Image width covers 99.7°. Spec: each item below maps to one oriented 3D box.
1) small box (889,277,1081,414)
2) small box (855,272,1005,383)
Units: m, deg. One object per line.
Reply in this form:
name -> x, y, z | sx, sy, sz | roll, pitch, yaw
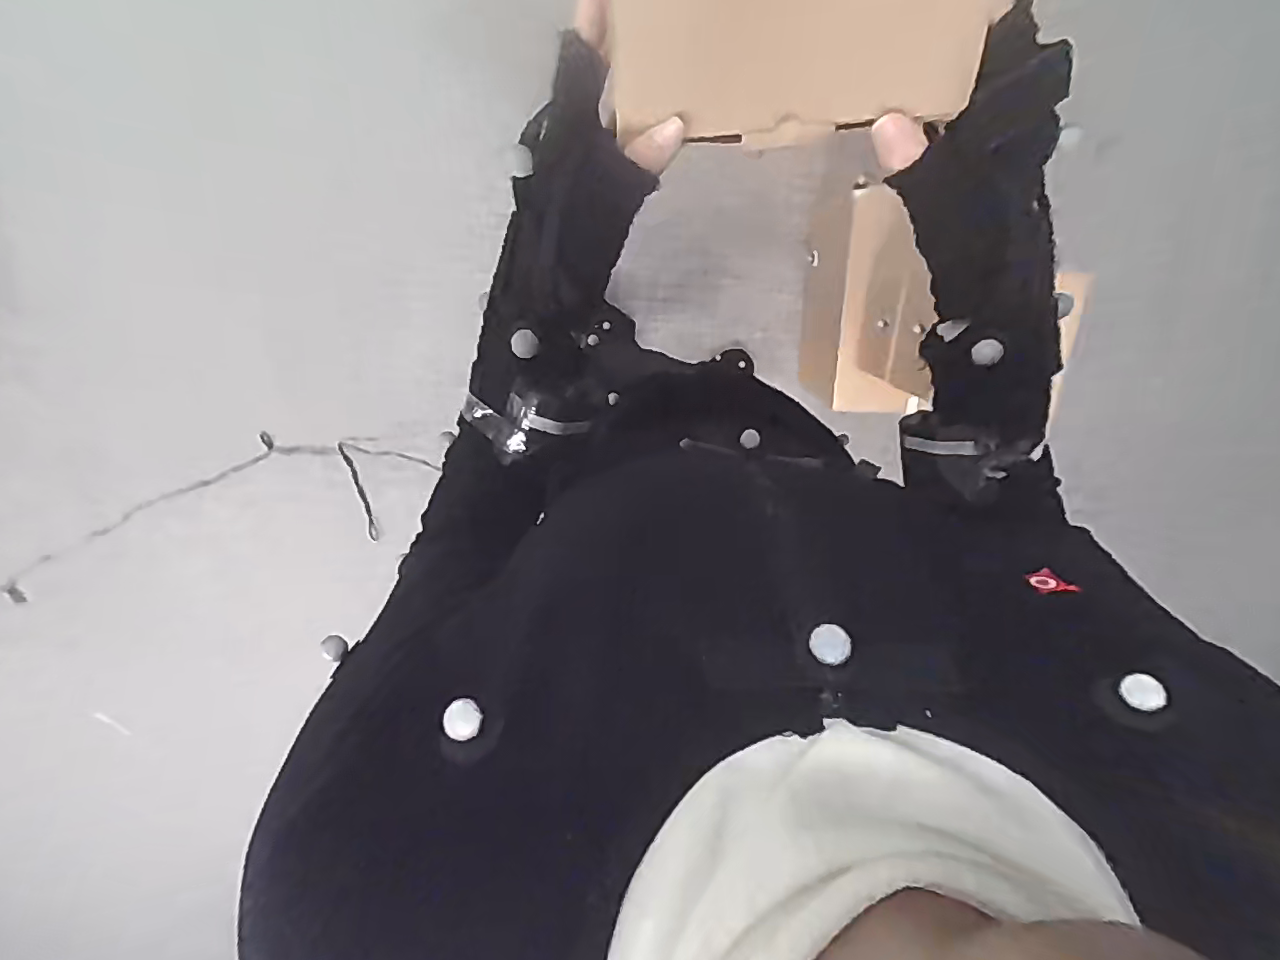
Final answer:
small box -> 0.485, -0.203, 0.795 | 0.168, 0.176, 0.179 | 2, 110, 4
small box -> 0.494, -0.265, 0.946 | 0.168, 0.176, 0.179 | 4, 110, 3
